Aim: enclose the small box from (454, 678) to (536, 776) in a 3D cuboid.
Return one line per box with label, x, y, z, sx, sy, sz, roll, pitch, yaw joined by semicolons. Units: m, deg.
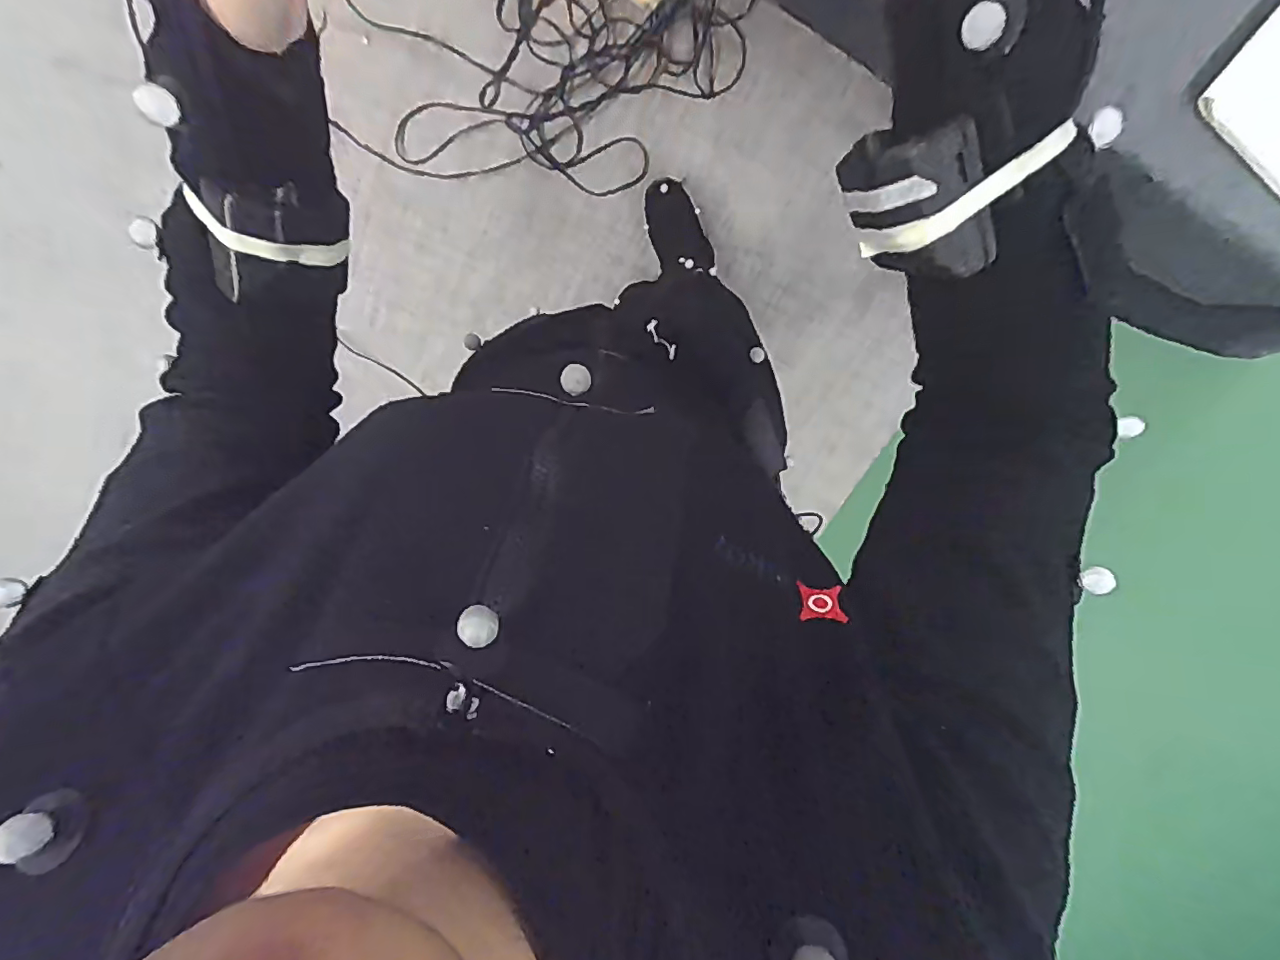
small box;-0.431;0.744;1.636;0.168;0.176;0.179;29;109;-11
